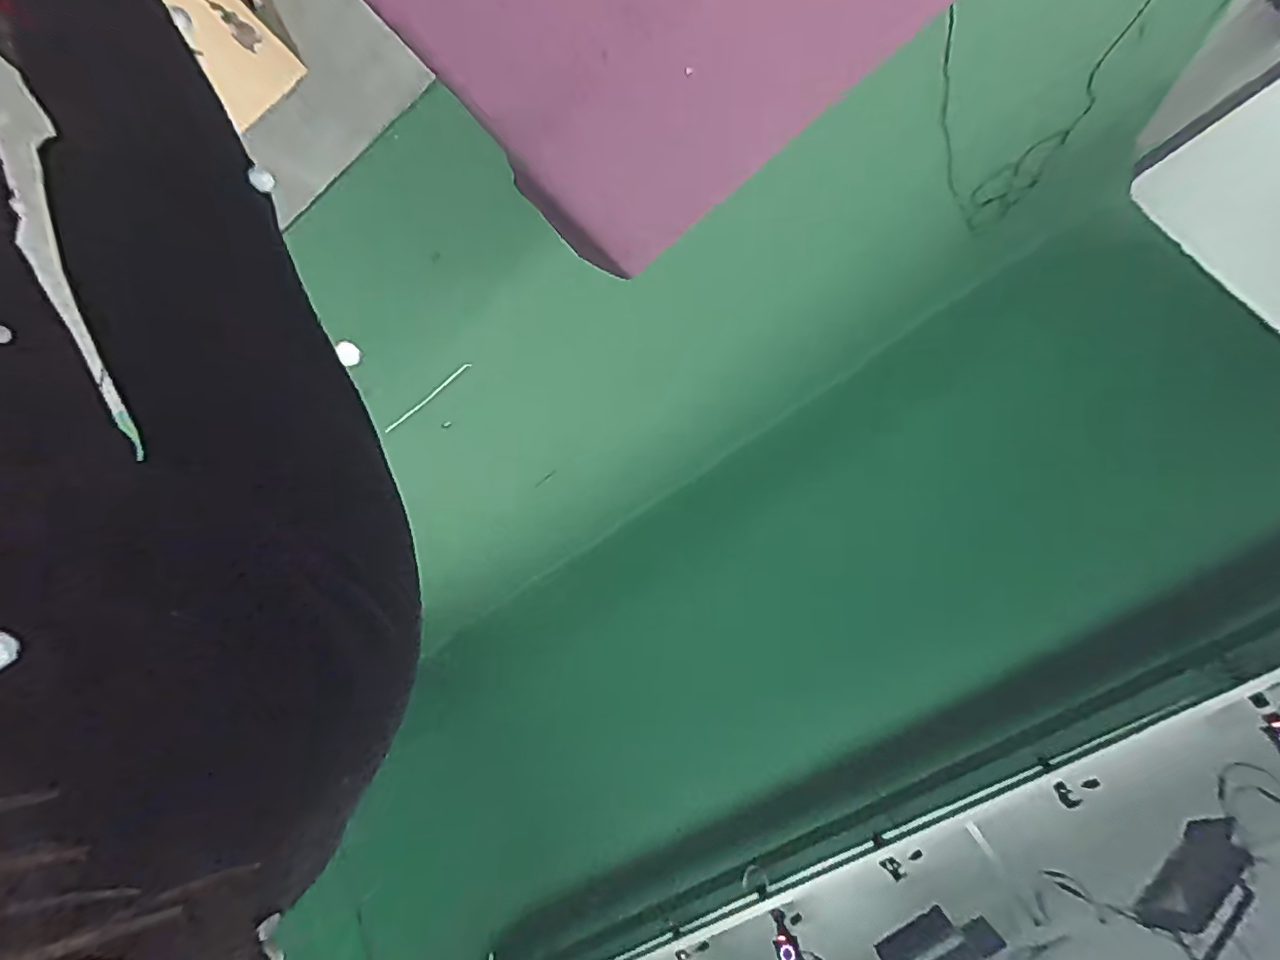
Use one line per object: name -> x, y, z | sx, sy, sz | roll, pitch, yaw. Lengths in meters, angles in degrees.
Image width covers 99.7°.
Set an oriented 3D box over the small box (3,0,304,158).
small box -> -0.503, -0.498, 0.564 | 0.179, 0.176, 0.168 | -32, 165, 9
